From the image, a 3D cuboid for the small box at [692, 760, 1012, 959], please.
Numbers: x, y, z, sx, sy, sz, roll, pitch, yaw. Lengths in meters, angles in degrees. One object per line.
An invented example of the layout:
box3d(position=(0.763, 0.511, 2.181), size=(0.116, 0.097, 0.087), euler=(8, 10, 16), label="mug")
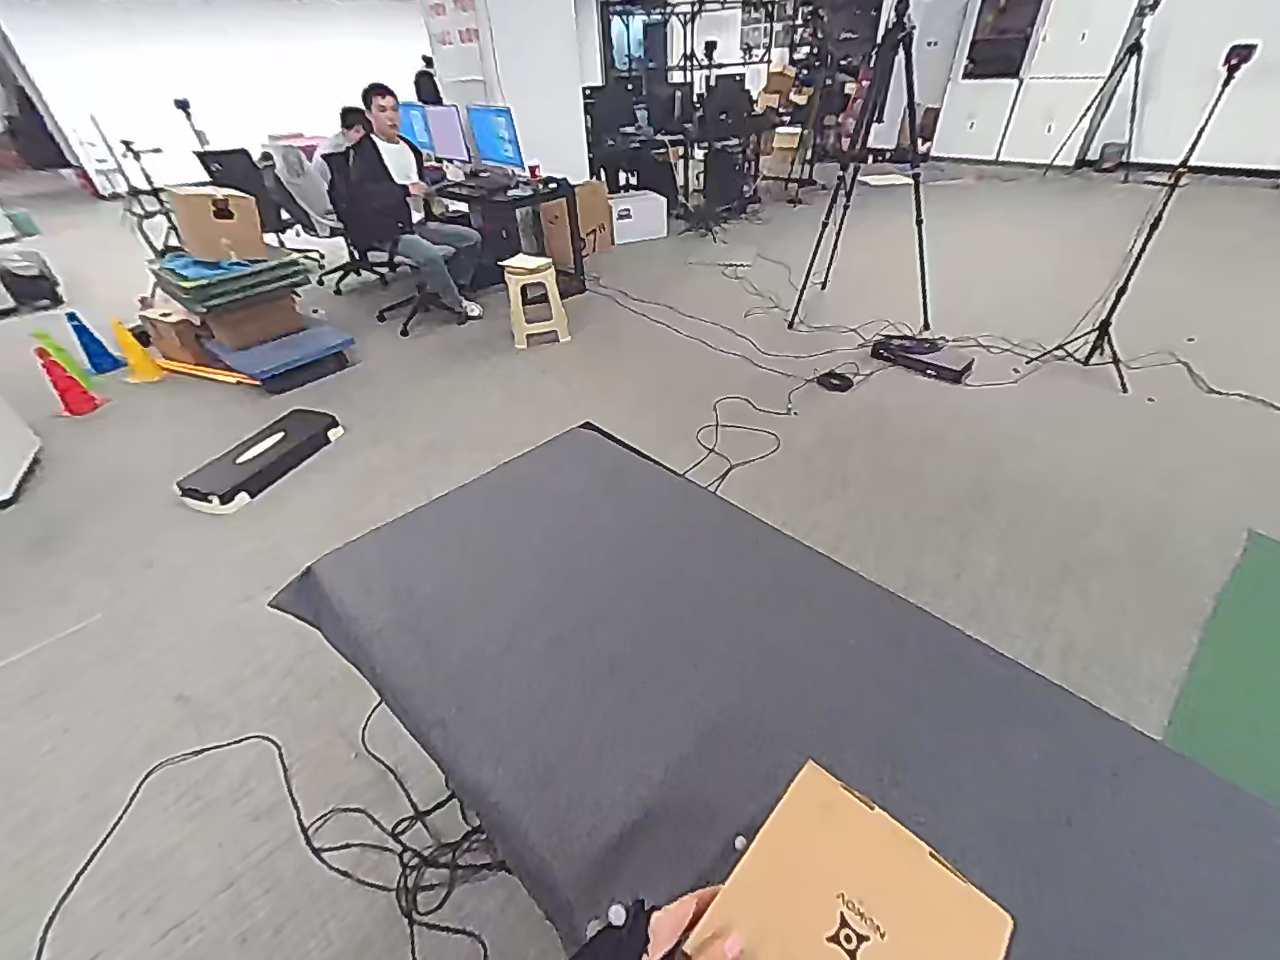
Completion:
box3d(position=(0.152, 0.377, 0.432), size=(0.168, 0.176, 0.179), euler=(29, 50, 32), label="small box")
